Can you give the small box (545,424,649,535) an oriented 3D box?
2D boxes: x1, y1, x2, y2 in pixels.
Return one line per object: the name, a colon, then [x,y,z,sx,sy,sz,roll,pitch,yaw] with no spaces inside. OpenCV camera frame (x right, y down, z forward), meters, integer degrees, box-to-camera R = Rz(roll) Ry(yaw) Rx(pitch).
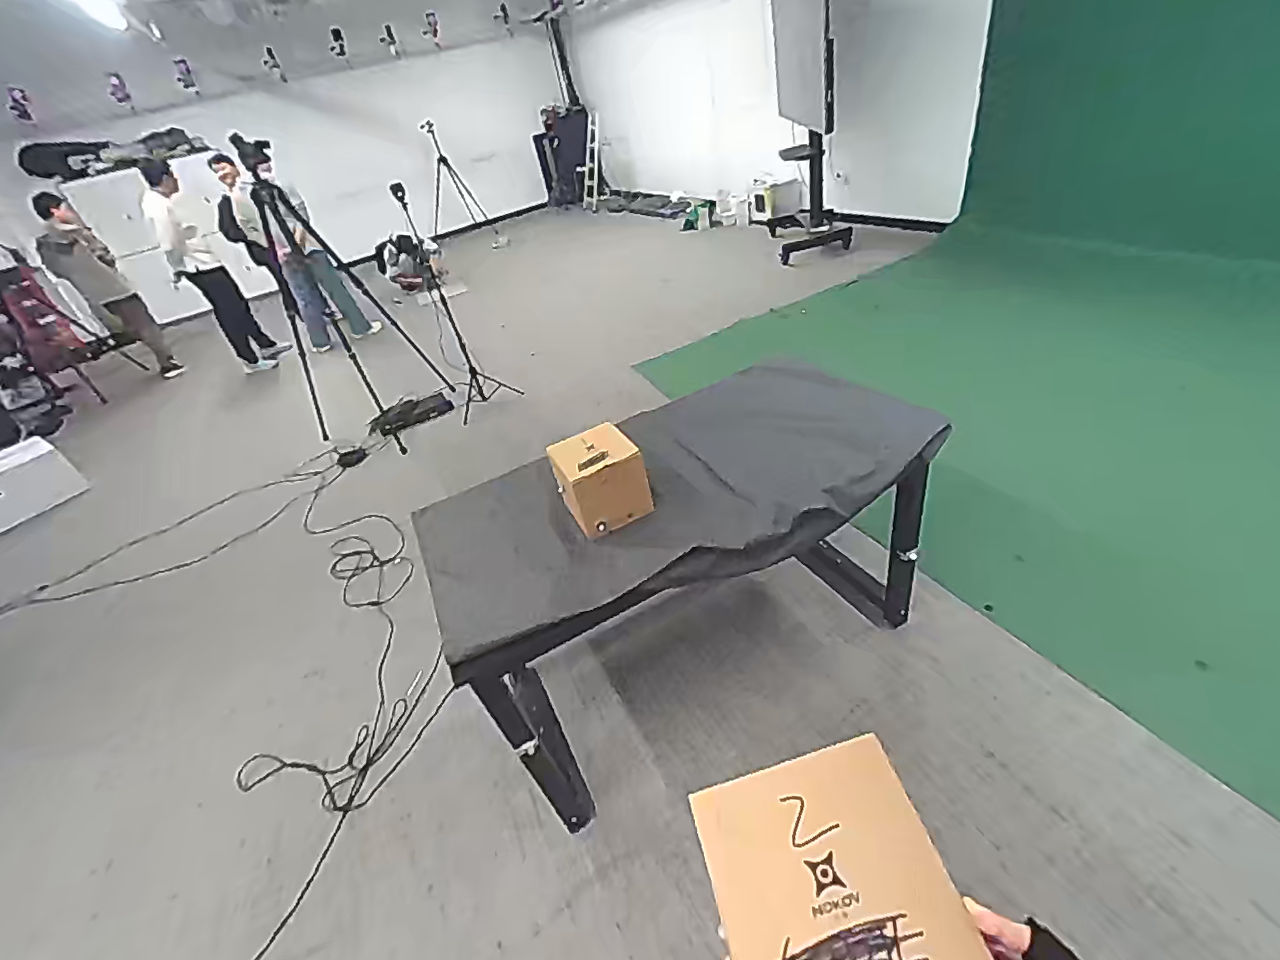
small box: [-0.094,0.004,1.232,0.168,0.176,0.179,-24,36,-15]
